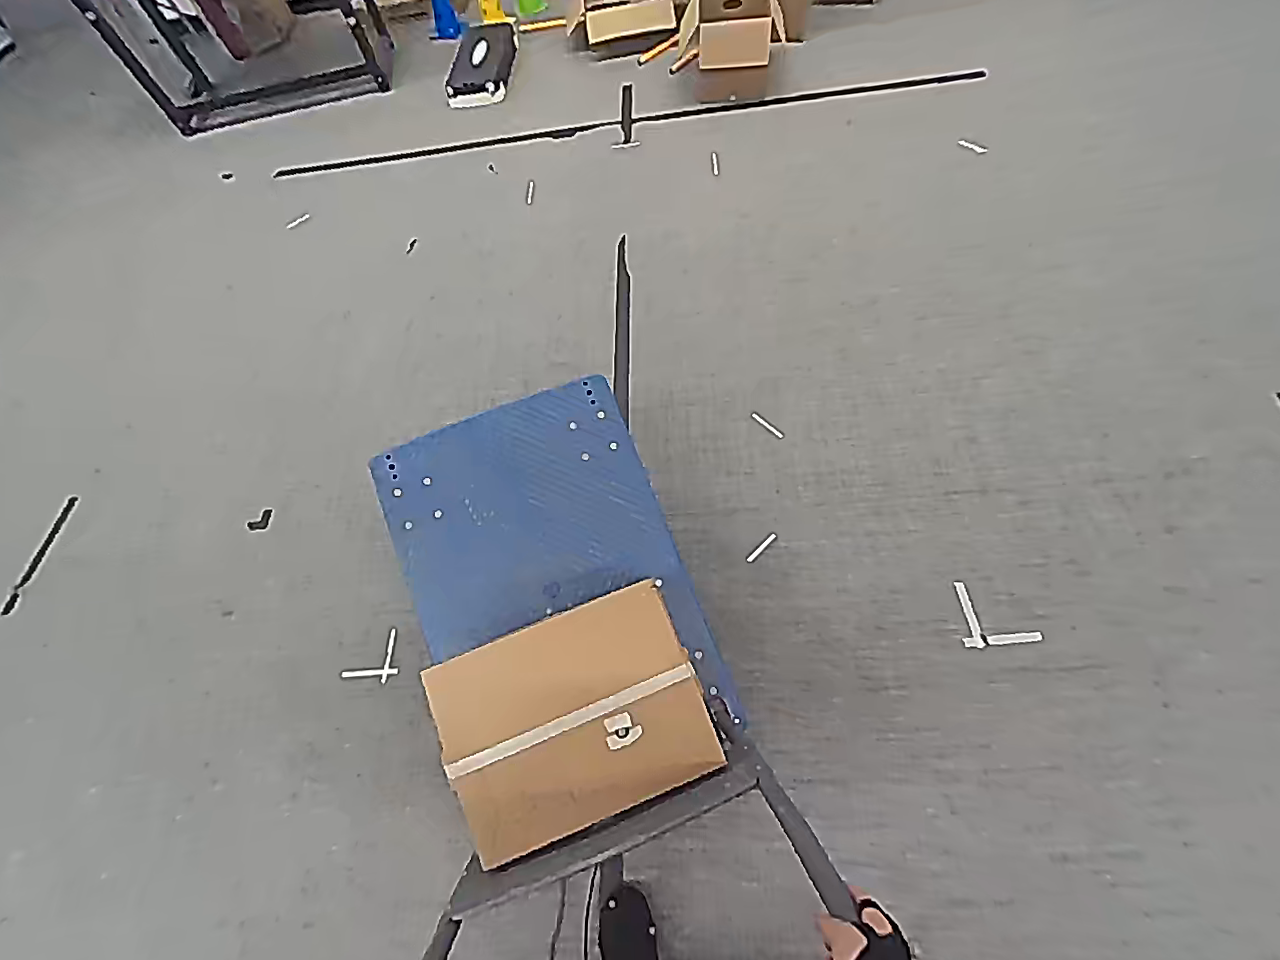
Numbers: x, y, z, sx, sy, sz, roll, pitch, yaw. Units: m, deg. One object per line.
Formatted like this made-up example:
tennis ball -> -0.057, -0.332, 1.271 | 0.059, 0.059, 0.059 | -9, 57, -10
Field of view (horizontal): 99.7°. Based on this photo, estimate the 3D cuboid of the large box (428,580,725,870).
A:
large box -> -0.108, 0.409, 1.006 | 0.408, 0.320, 0.320 | -22, 82, -6
